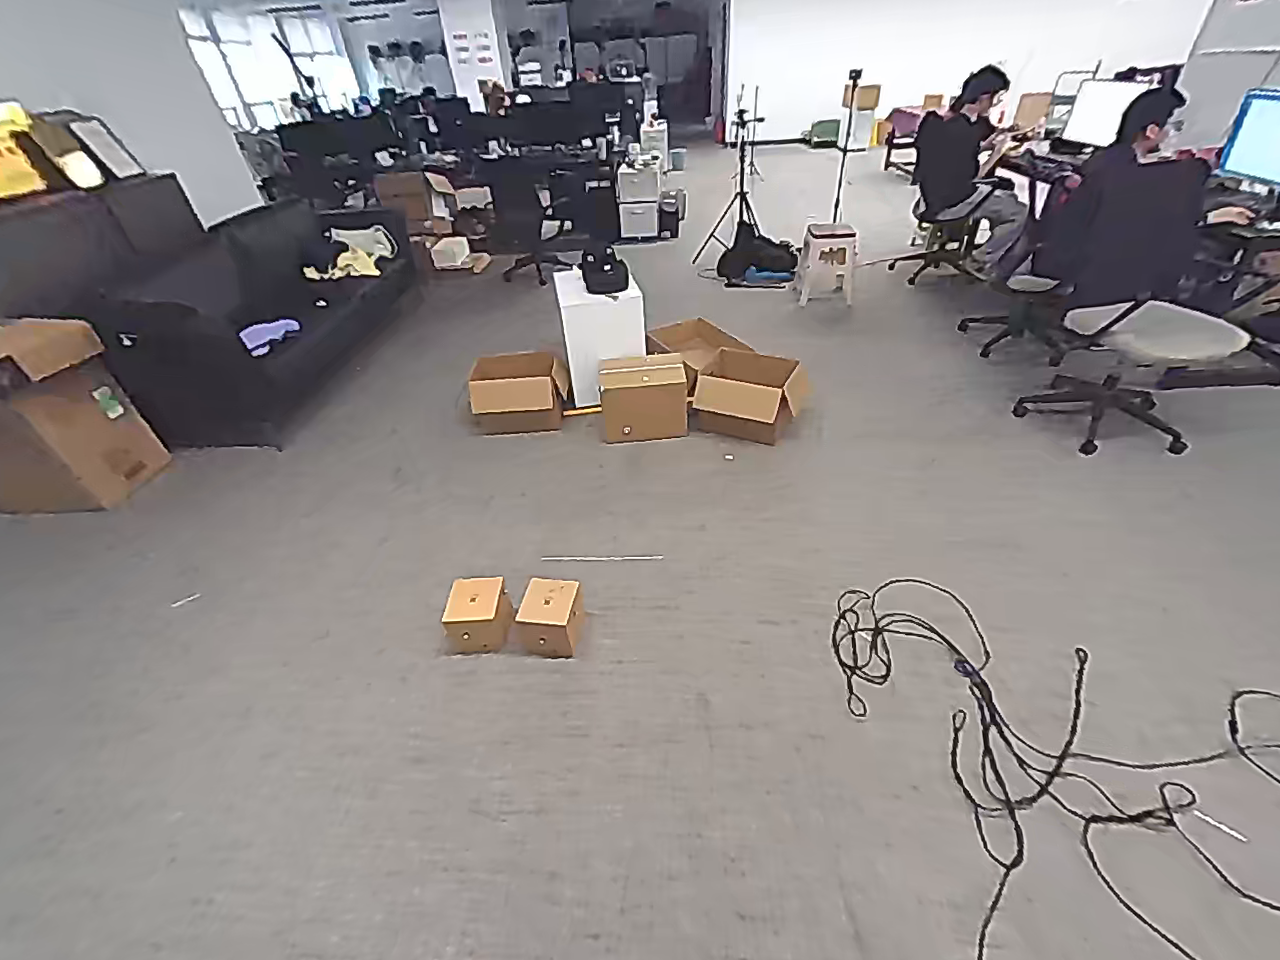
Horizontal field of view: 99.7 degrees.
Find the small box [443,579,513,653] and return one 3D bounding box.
[{"bbox_3d":[-0.524,0.453,1.781,0.168,0.176,0.179,-4,38,1],"label":"small box"}]

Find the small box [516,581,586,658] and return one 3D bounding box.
[{"bbox_3d":[-0.280,0.454,1.751,0.168,0.176,0.179,3,39,9],"label":"small box"}]
